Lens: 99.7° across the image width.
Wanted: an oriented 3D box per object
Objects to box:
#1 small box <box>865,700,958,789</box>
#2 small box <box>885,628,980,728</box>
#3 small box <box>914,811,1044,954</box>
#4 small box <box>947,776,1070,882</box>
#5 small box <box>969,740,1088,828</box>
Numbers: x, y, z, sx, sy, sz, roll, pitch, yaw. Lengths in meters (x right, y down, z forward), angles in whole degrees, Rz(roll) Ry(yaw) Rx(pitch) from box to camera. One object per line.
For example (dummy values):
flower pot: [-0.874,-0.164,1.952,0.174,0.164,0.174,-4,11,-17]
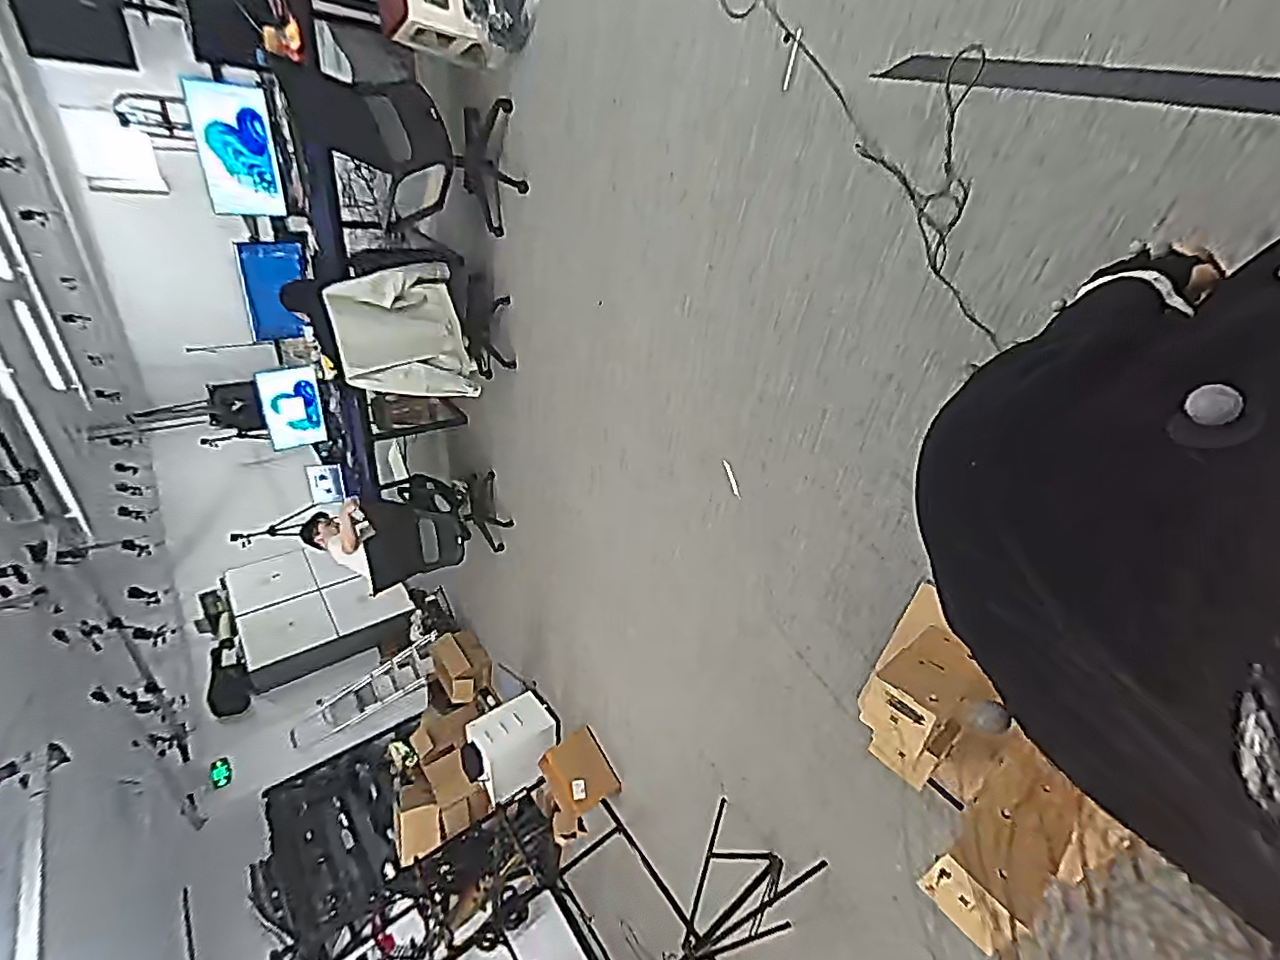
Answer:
small box: [0.839,0.797,1.671,0.179,0.176,0.168,33,130,40]
small box: [0.846,0.562,1.558,0.168,0.176,0.179,34,130,40]
small box: [0.778,0.914,1.241,0.179,0.176,0.168,38,132,35]
small box: [0.905,0.870,1.336,0.179,0.176,0.168,41,134,33]
small box: [1.029,0.825,1.434,0.179,0.176,0.168,40,133,34]
